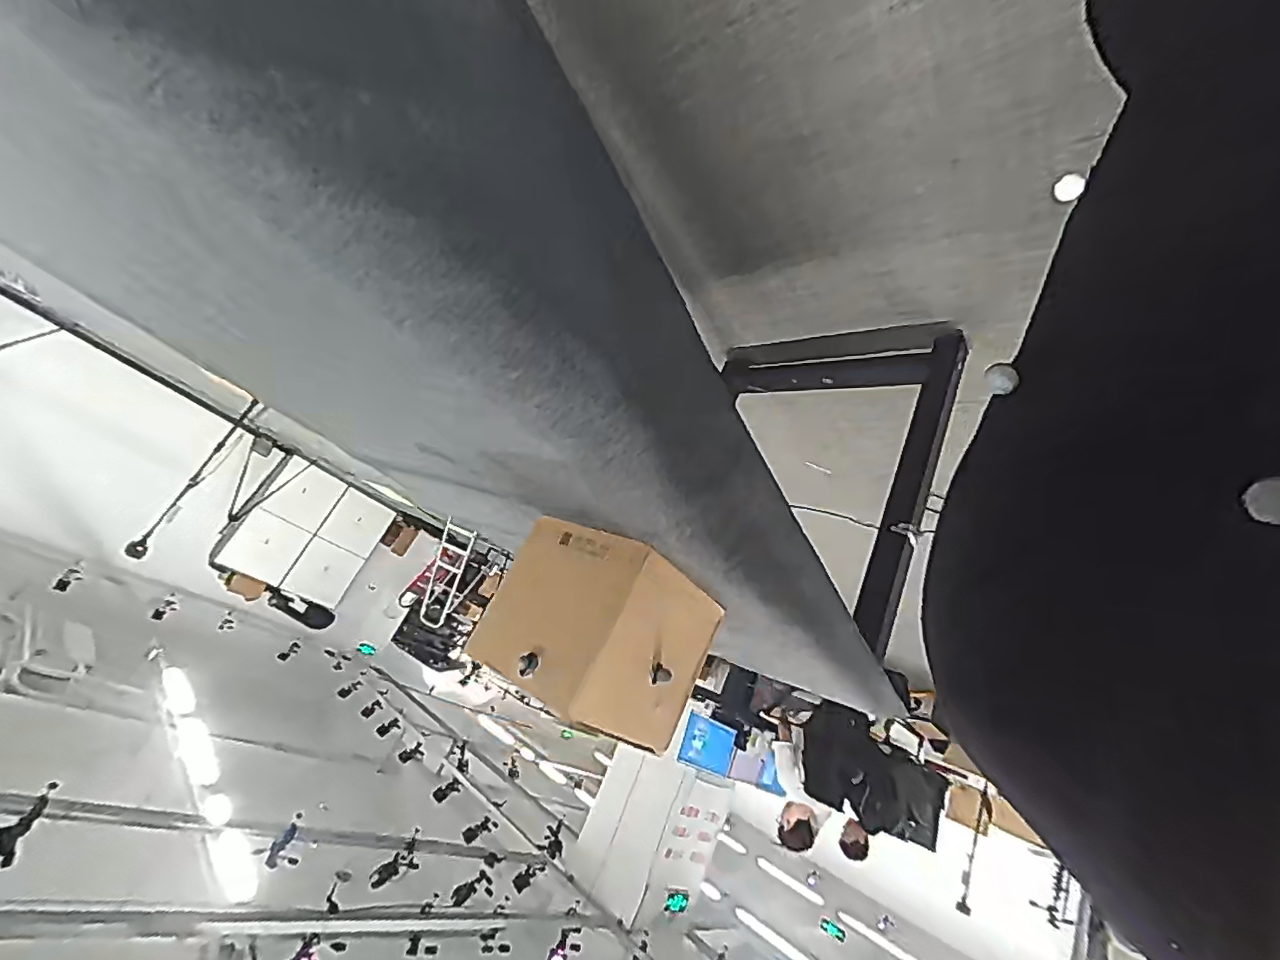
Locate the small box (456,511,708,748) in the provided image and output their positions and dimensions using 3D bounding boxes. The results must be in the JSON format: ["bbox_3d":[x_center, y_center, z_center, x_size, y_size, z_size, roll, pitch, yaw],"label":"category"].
[{"bbox_3d":[-0.052,0.156,0.585,0.168,0.176,0.179,10,155,42],"label":"small box"}]
